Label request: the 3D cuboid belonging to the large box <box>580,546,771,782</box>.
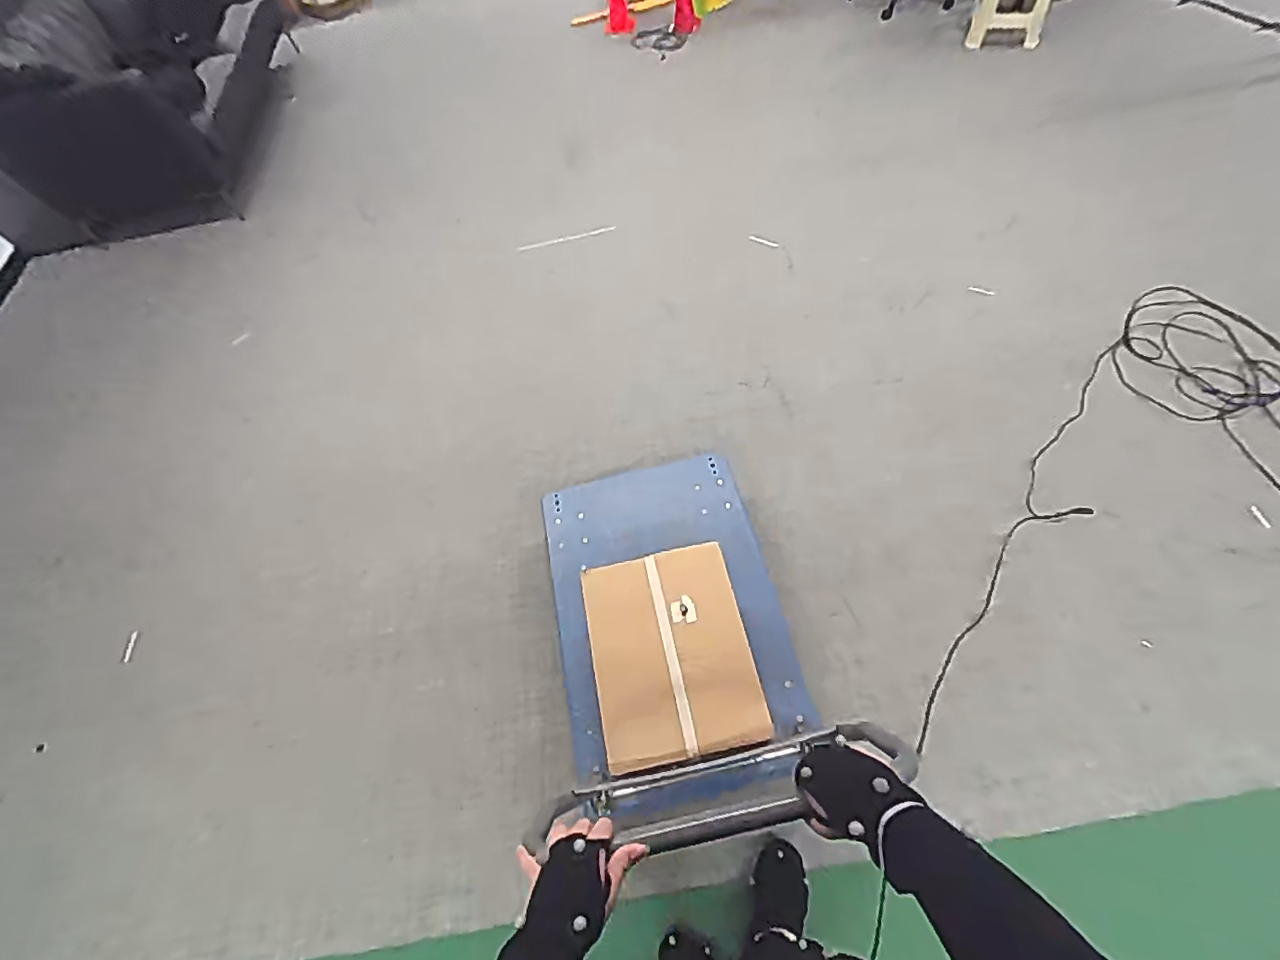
[{"bbox_3d":[0.073,0.422,1.228,0.320,0.320,0.408,-13,58,-1],"label":"large box"}]
